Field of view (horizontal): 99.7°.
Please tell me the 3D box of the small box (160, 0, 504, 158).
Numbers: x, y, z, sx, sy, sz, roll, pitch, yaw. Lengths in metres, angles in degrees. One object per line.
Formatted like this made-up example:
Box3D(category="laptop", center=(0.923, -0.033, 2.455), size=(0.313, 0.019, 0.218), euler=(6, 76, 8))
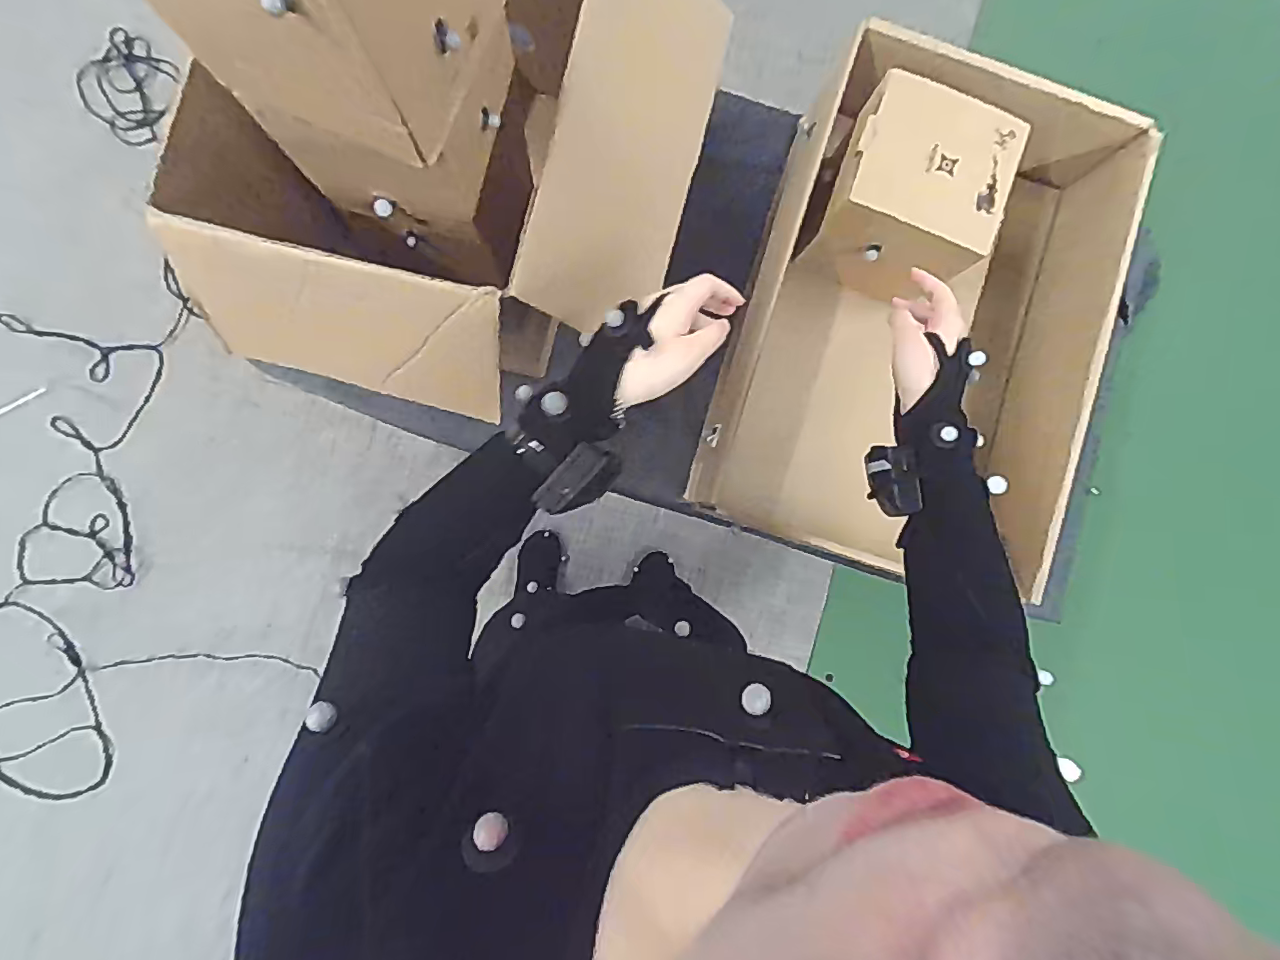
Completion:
Box3D(category="small box", center=(-0.209, -0.354, 0.350), size=(0.179, 0.176, 0.168), euler=(21, 87, -4))
